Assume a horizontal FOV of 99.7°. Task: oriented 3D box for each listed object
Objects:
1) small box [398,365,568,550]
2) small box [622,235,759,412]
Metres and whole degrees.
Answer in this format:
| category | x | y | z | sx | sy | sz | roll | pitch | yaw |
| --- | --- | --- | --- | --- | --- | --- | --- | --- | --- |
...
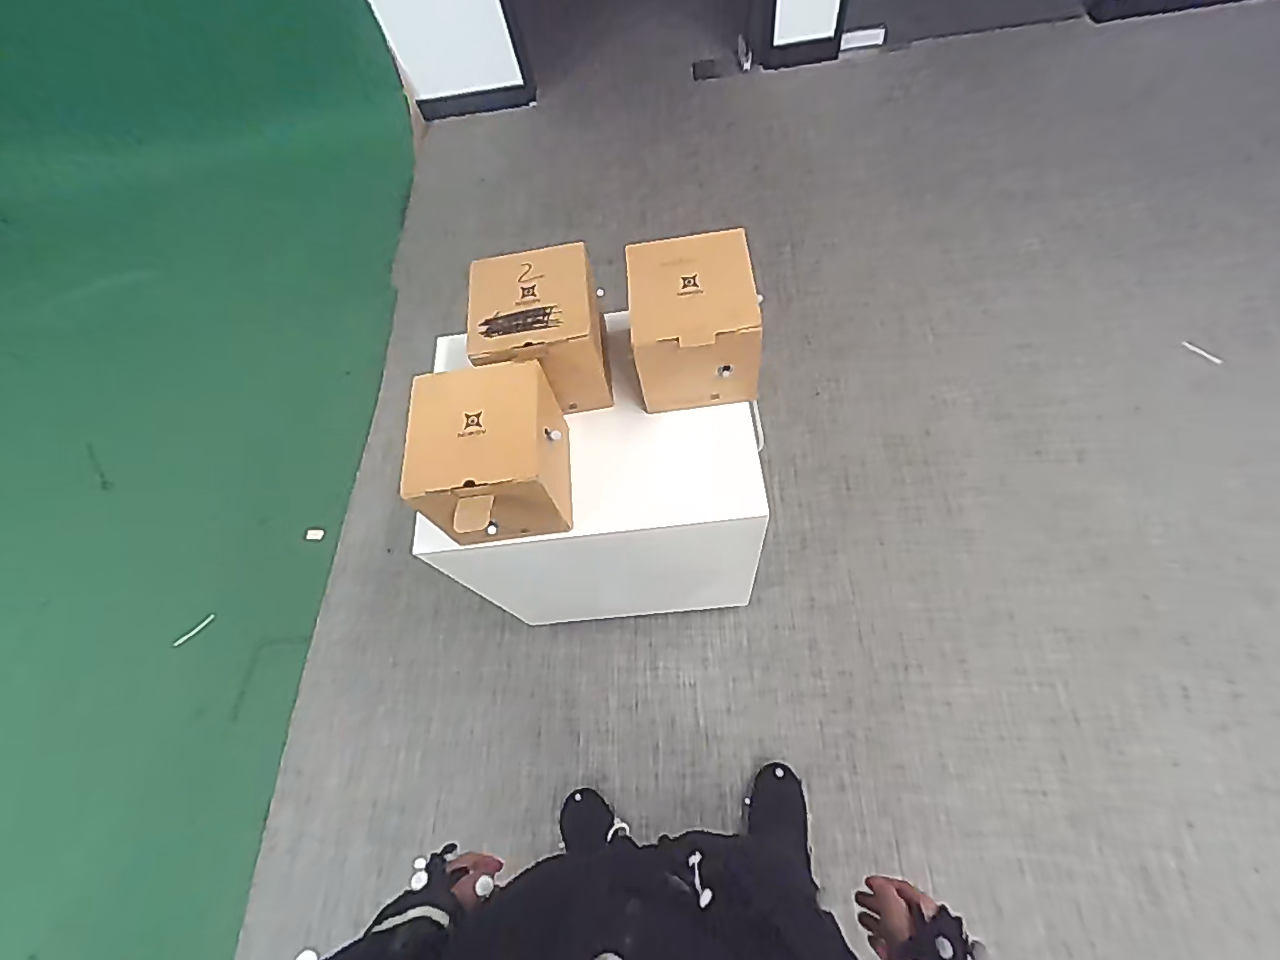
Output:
| category | x | y | z | sx | sy | sz | roll | pitch | yaw |
| --- | --- | --- | --- | --- | --- | --- | --- | --- | --- |
| small box | -0.194 | -0.024 | 0.719 | 0.168 | 0.176 | 0.179 | -8 | 63 | 3 |
| small box | 0.071 | -0.211 | 0.773 | 0.168 | 0.176 | 0.179 | -7 | 64 | 4 |
